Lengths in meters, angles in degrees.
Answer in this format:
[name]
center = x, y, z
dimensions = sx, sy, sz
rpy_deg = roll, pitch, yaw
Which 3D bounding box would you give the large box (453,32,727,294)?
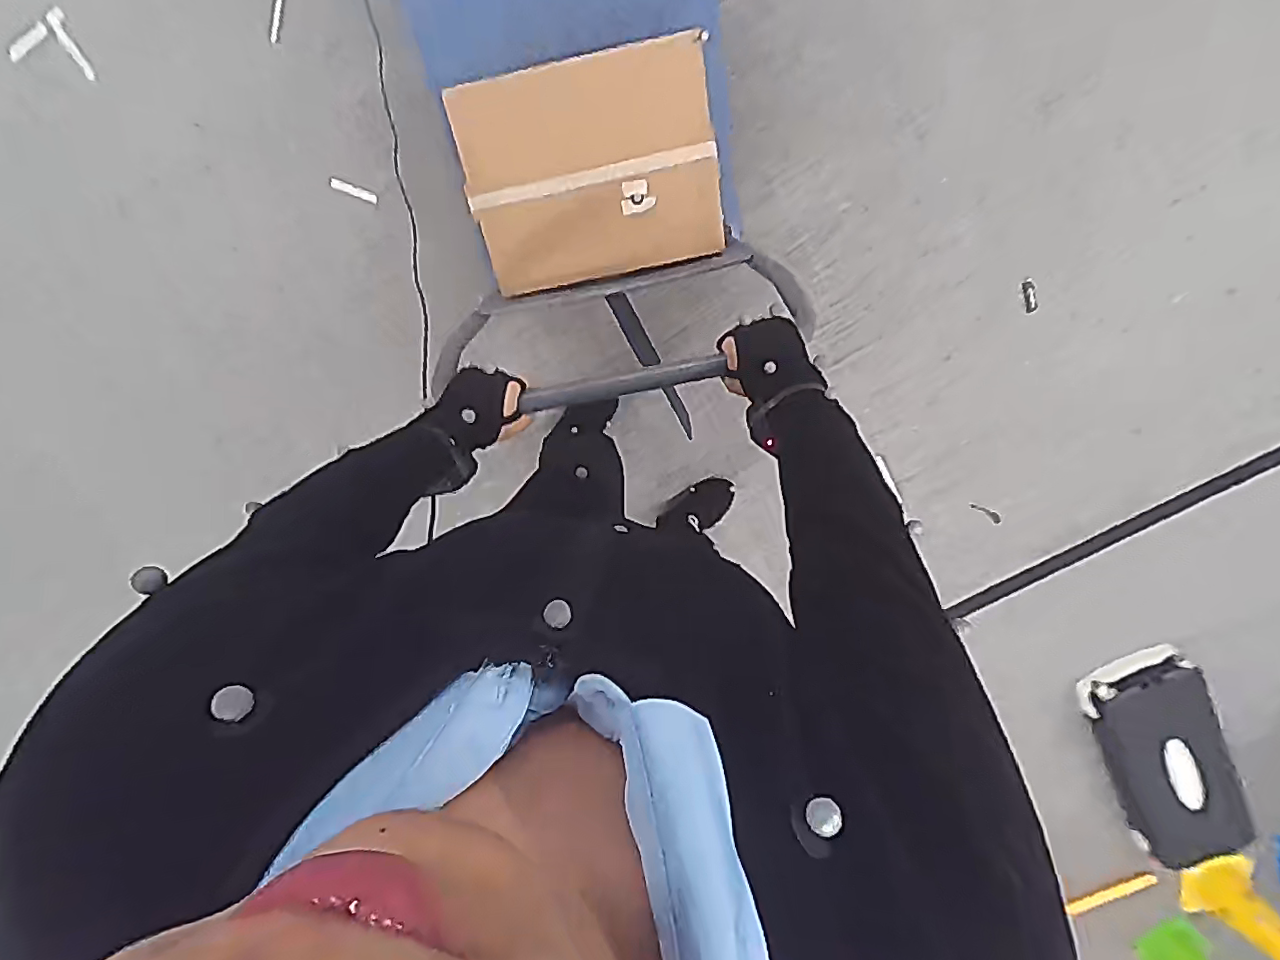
[large box]
center = -0.078, -0.572, 1.032
dimensions = 0.408, 0.320, 0.320
rpy_deg = -11, 117, 3
